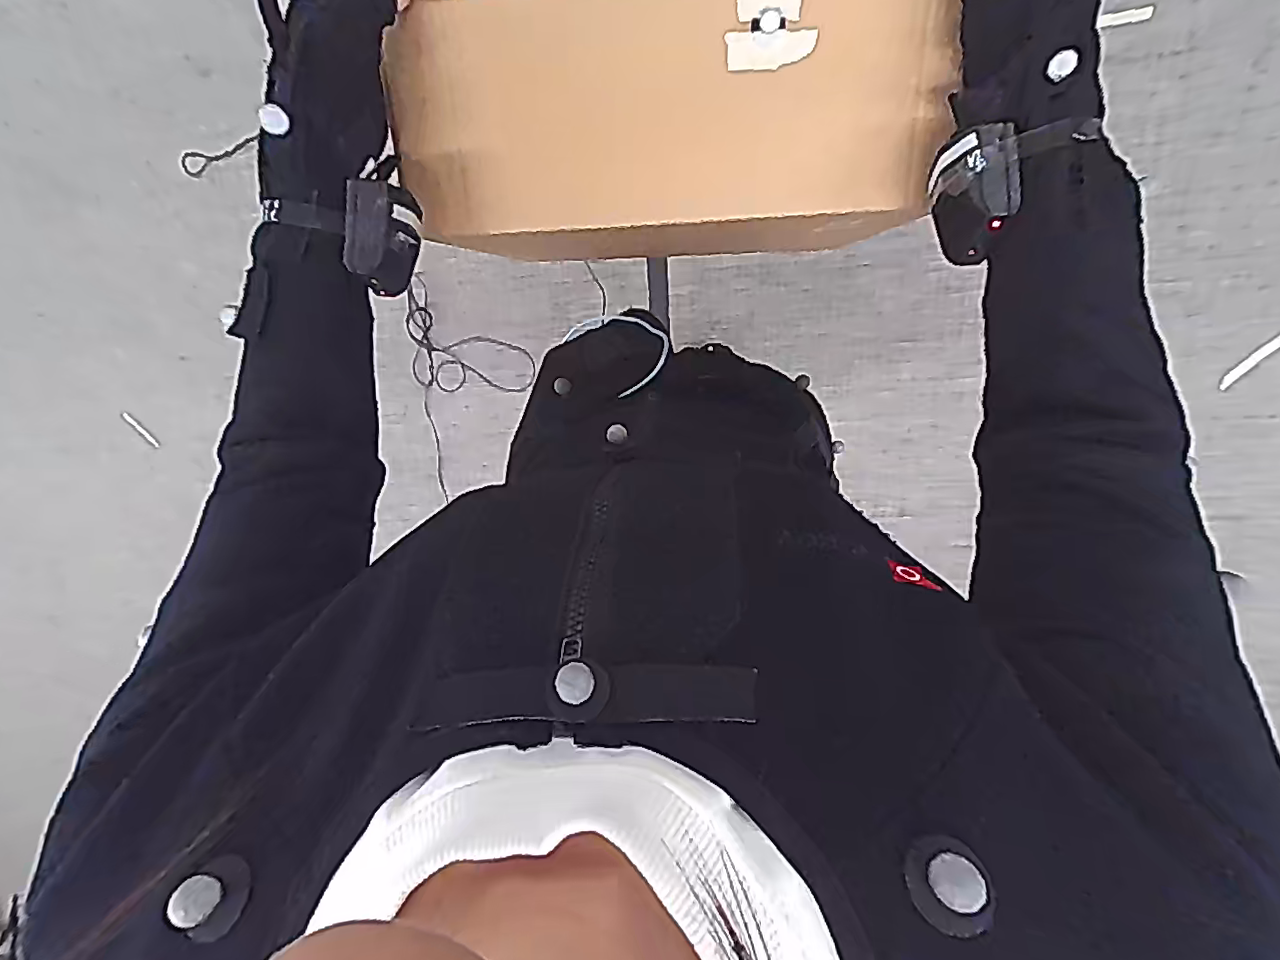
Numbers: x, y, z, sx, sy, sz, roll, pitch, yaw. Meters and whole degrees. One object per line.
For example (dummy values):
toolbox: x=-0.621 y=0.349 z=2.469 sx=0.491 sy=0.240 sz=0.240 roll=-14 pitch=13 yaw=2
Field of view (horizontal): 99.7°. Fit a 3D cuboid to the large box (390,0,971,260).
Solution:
large box: x=0.029 y=-0.394 z=0.504 sx=0.408 sy=0.320 sz=0.320 roll=-2 pitch=109 yaw=4
